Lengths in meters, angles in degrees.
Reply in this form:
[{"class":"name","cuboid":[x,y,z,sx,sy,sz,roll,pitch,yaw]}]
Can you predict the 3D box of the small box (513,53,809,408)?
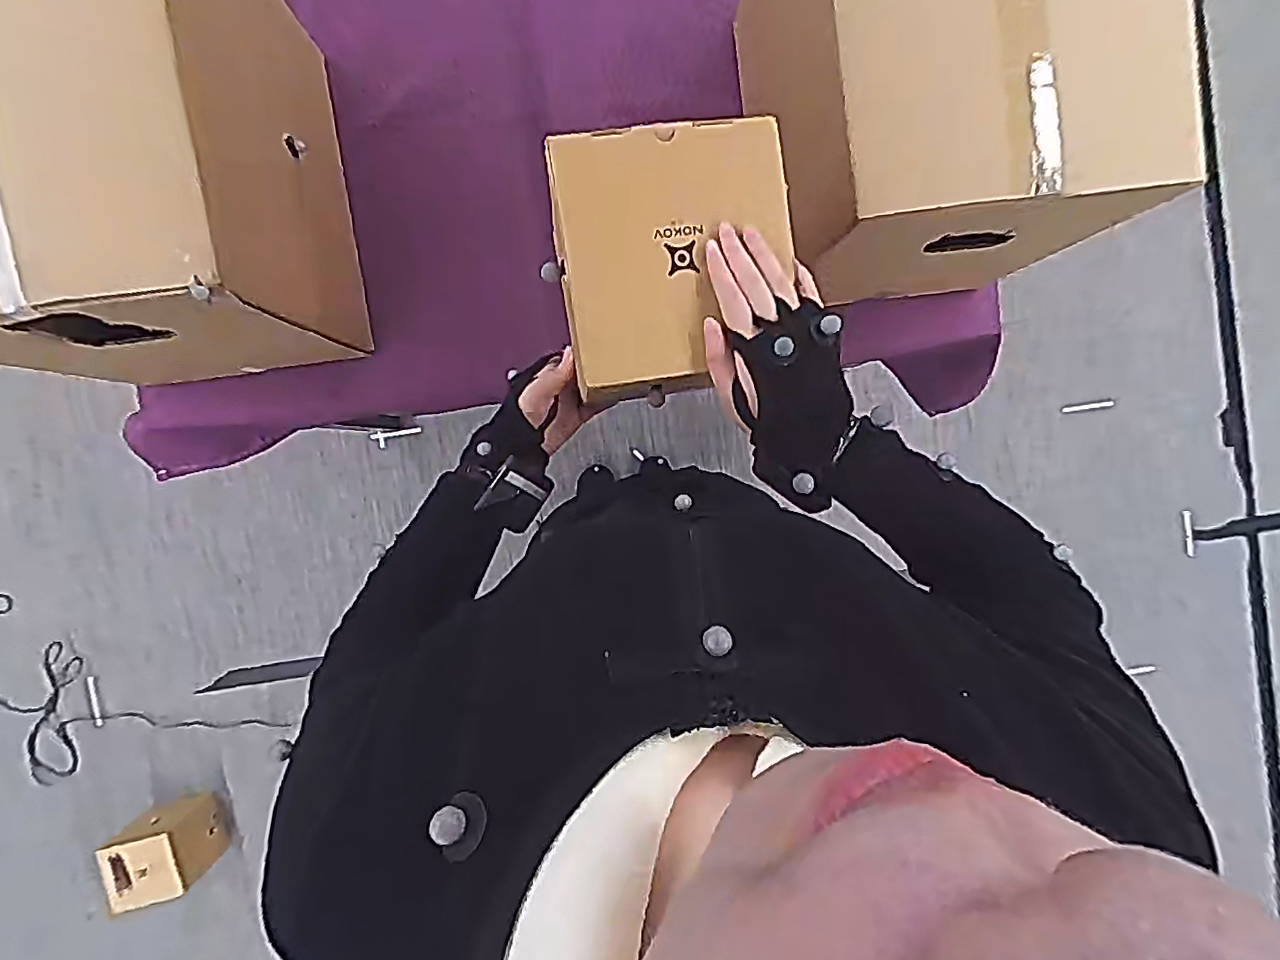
[{"class":"small box","cuboid":[0.026,-0.178,0.423,0.179,0.176,0.168,-14,75,12]}]
